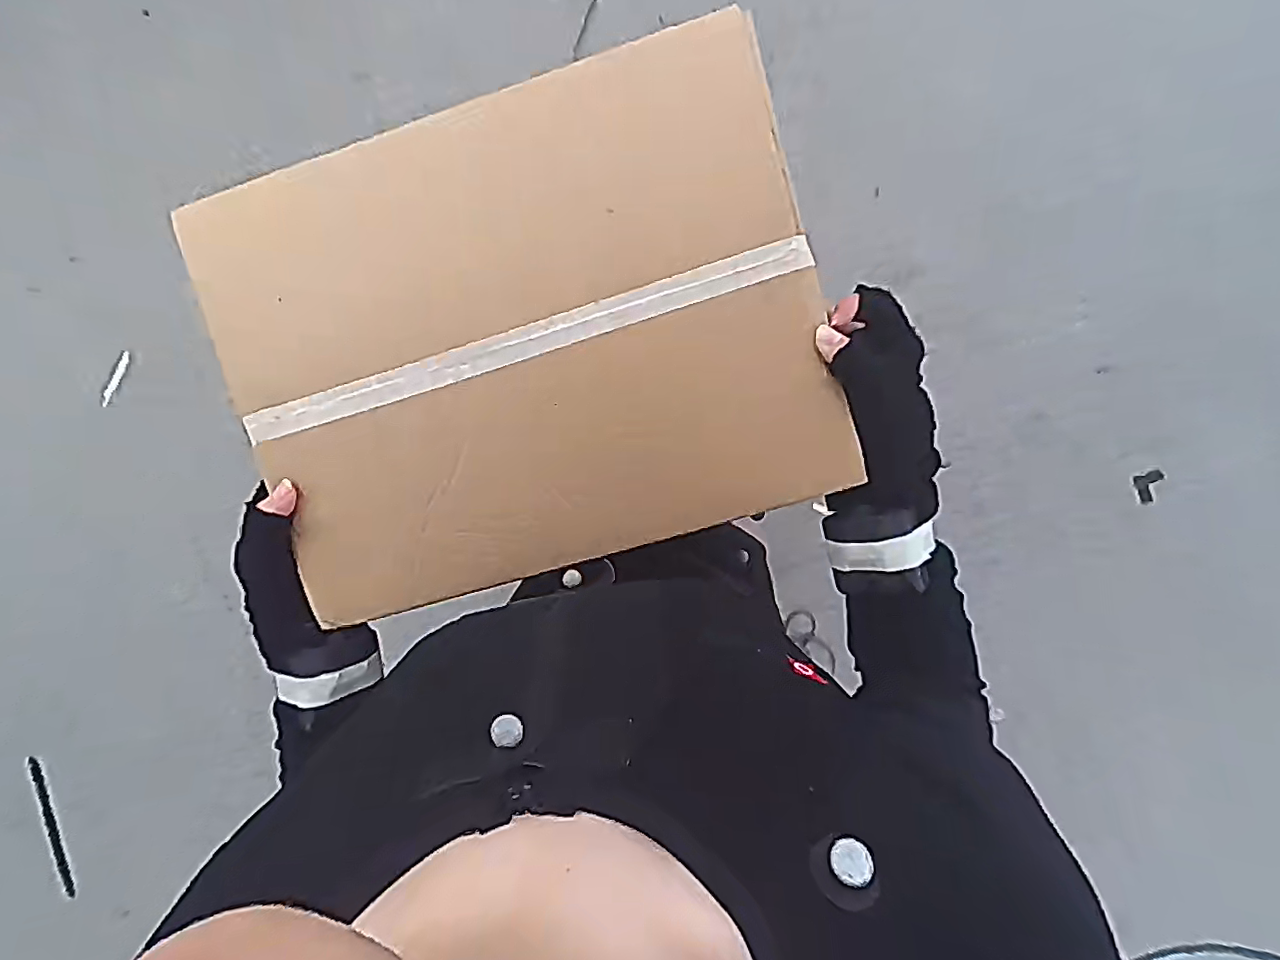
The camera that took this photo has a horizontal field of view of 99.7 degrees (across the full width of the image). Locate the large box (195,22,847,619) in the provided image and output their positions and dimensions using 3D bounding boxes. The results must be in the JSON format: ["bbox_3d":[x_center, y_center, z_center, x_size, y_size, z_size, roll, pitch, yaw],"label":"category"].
[{"bbox_3d":[-0.076,-0.113,0.527,0.408,0.320,0.320,-16,95,6],"label":"large box"}]
